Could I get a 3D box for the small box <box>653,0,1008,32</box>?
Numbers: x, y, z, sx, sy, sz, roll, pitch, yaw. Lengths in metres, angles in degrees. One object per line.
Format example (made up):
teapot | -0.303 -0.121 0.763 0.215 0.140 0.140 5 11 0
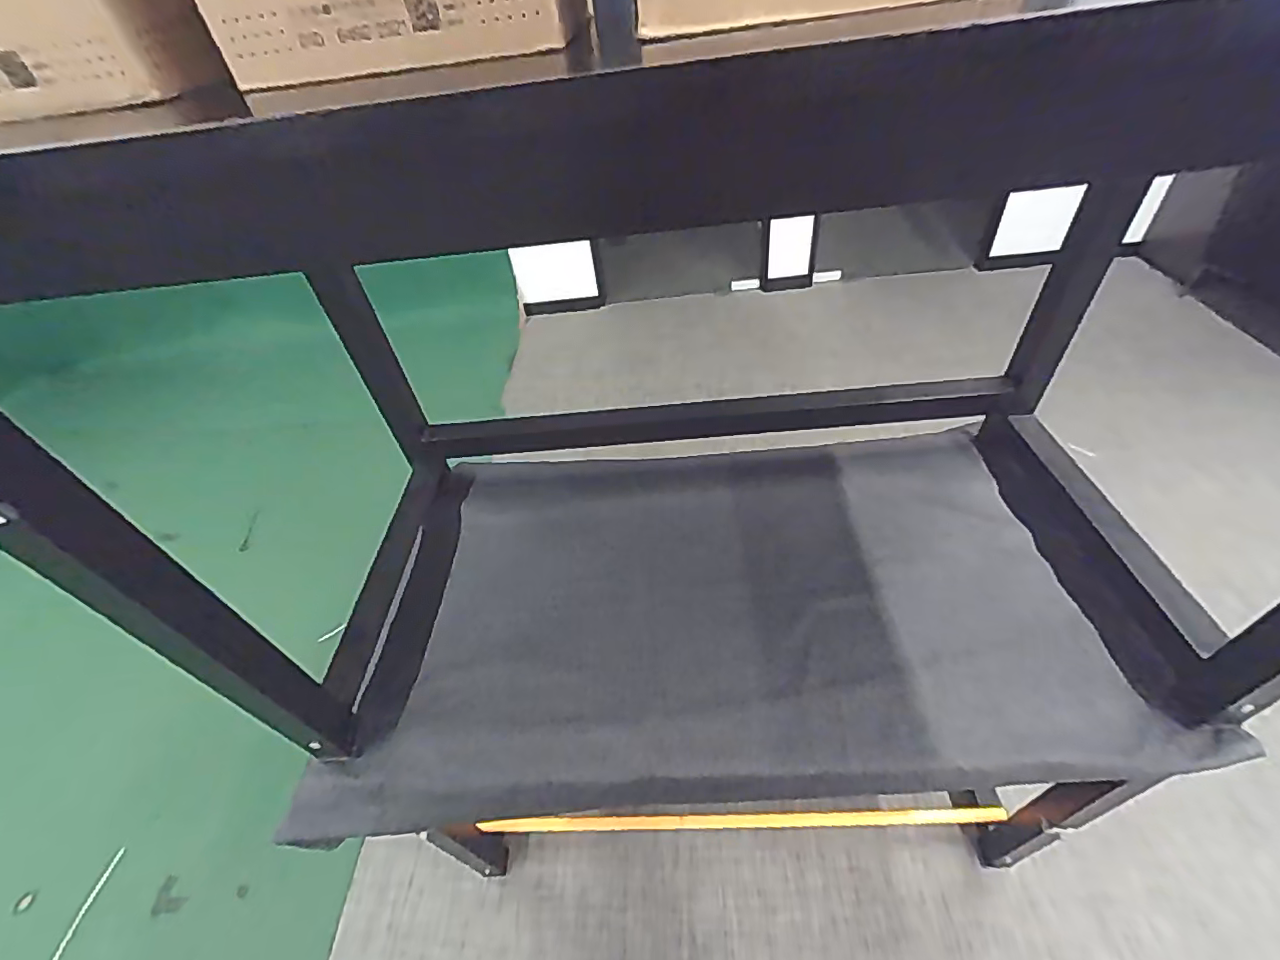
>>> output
small box | 0.082 -0.317 0.237 0.168 0.176 0.179 -3 45 5
